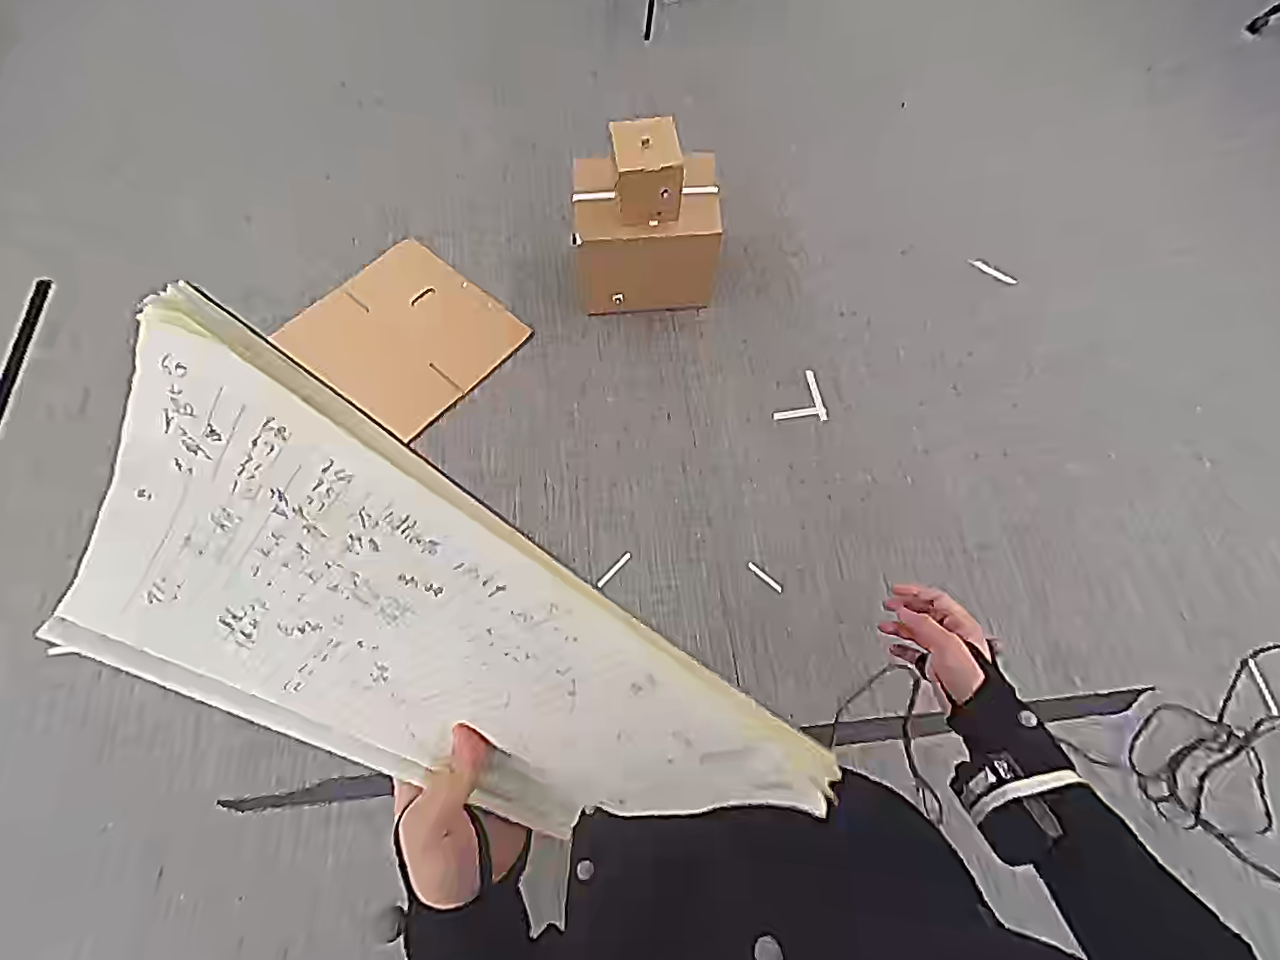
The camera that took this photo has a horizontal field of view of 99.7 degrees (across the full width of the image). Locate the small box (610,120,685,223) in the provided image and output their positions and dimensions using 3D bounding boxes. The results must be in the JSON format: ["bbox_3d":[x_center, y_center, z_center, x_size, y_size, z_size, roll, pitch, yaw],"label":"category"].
[{"bbox_3d":[0.018,-0.799,1.418,0.168,0.176,0.179,-9,69,-5],"label":"small box"}]
